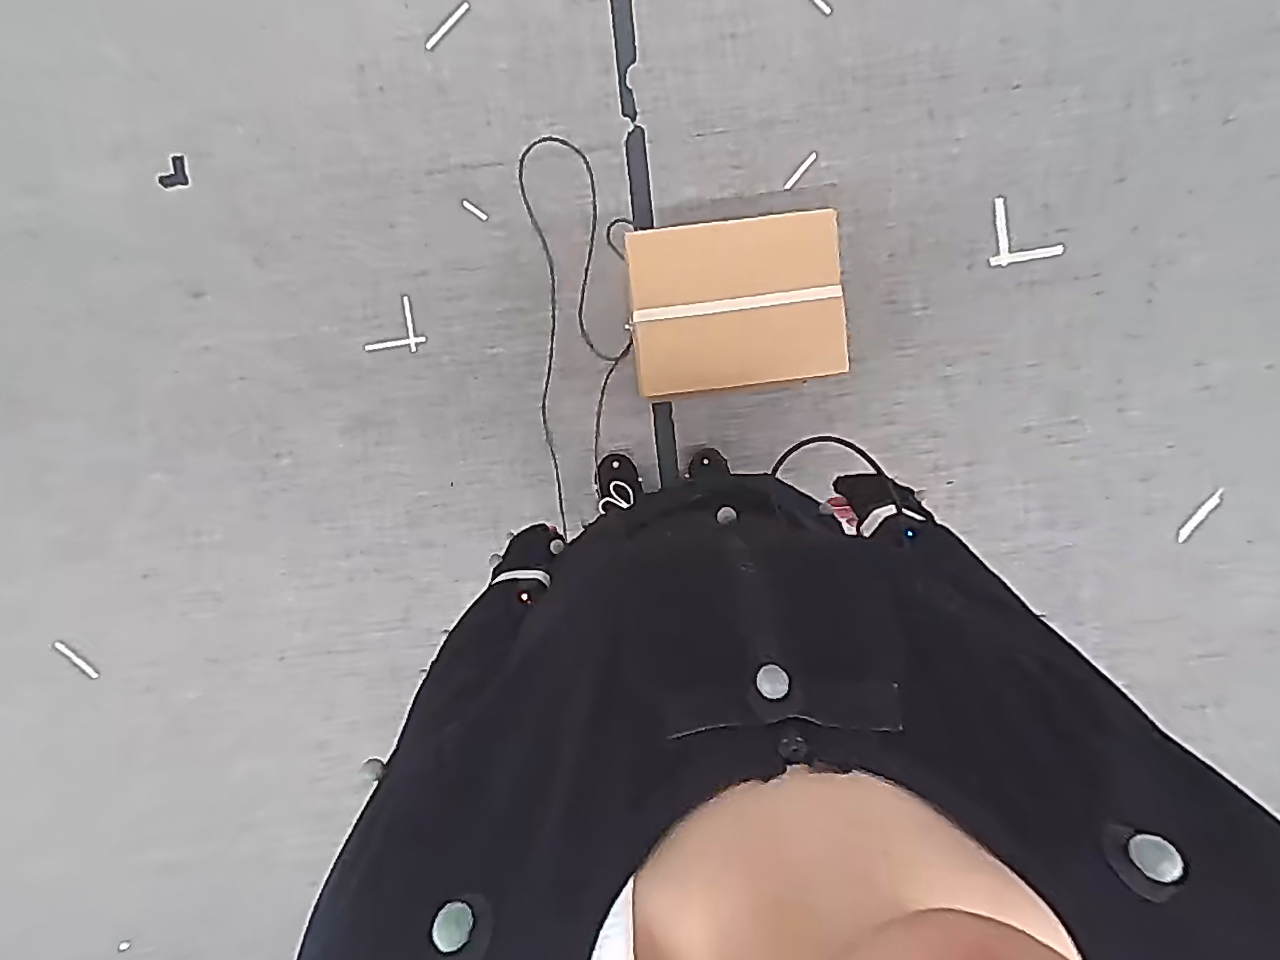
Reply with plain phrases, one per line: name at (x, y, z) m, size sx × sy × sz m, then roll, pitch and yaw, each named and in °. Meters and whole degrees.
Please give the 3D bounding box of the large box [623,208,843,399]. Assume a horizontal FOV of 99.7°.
large box at (0.183, -0.359, 1.193) m, size 0.408 × 0.320 × 0.320 m, roll -7°, pitch 95°, yaw 0°
